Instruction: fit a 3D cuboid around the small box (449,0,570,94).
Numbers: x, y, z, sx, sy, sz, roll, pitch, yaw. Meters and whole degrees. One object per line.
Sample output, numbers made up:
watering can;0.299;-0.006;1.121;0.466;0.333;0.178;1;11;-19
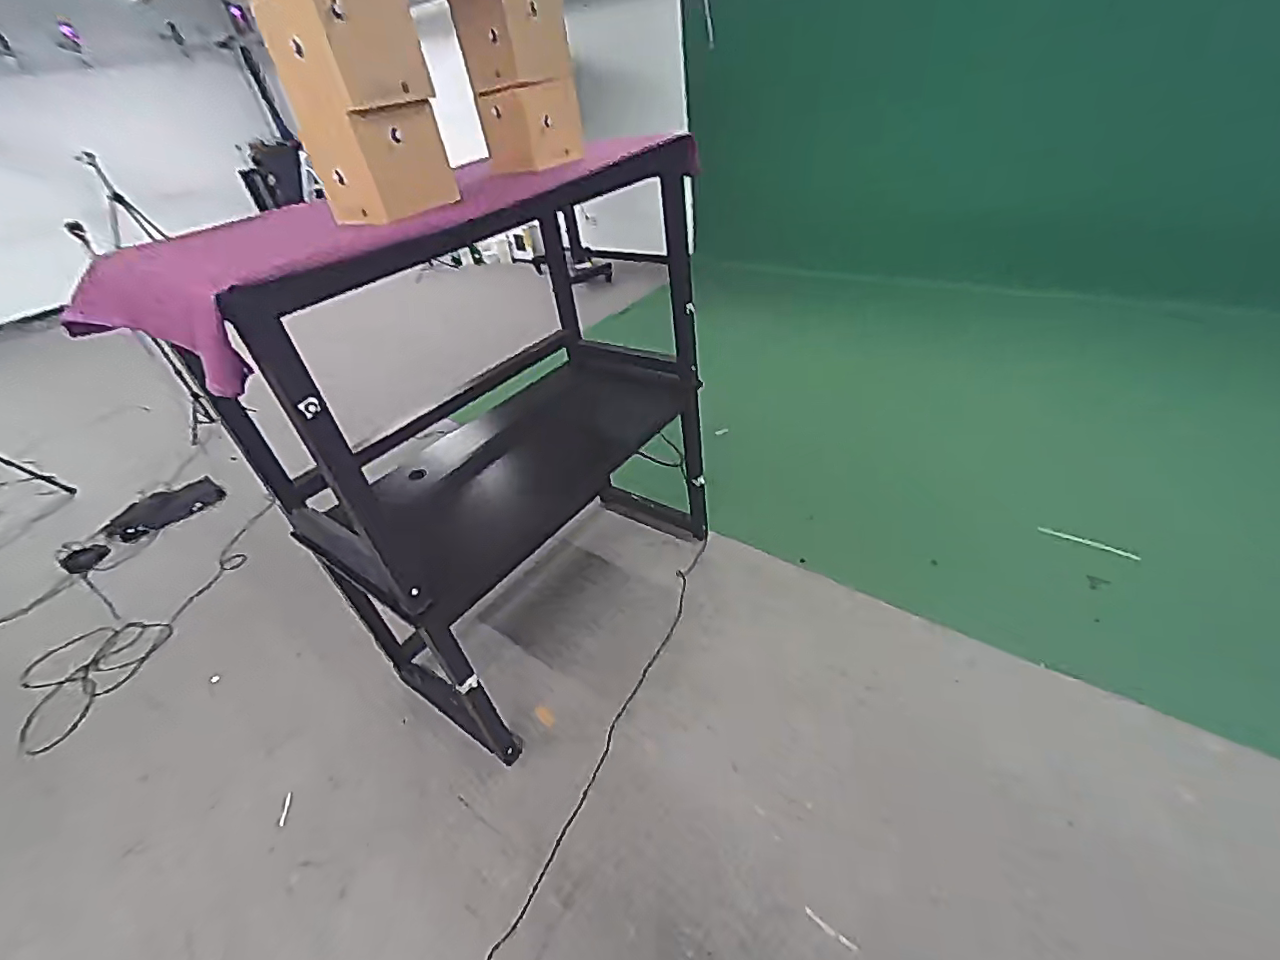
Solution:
small box;-0.277;-0.959;1.184;0.168;0.176;0.179;19;45;33

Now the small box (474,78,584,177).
small box;-0.258;-0.834;1.288;0.179;0.176;0.168;21;47;36

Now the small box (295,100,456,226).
small box;-0.473;-0.575;0.991;0.168;0.176;0.179;16;44;30
